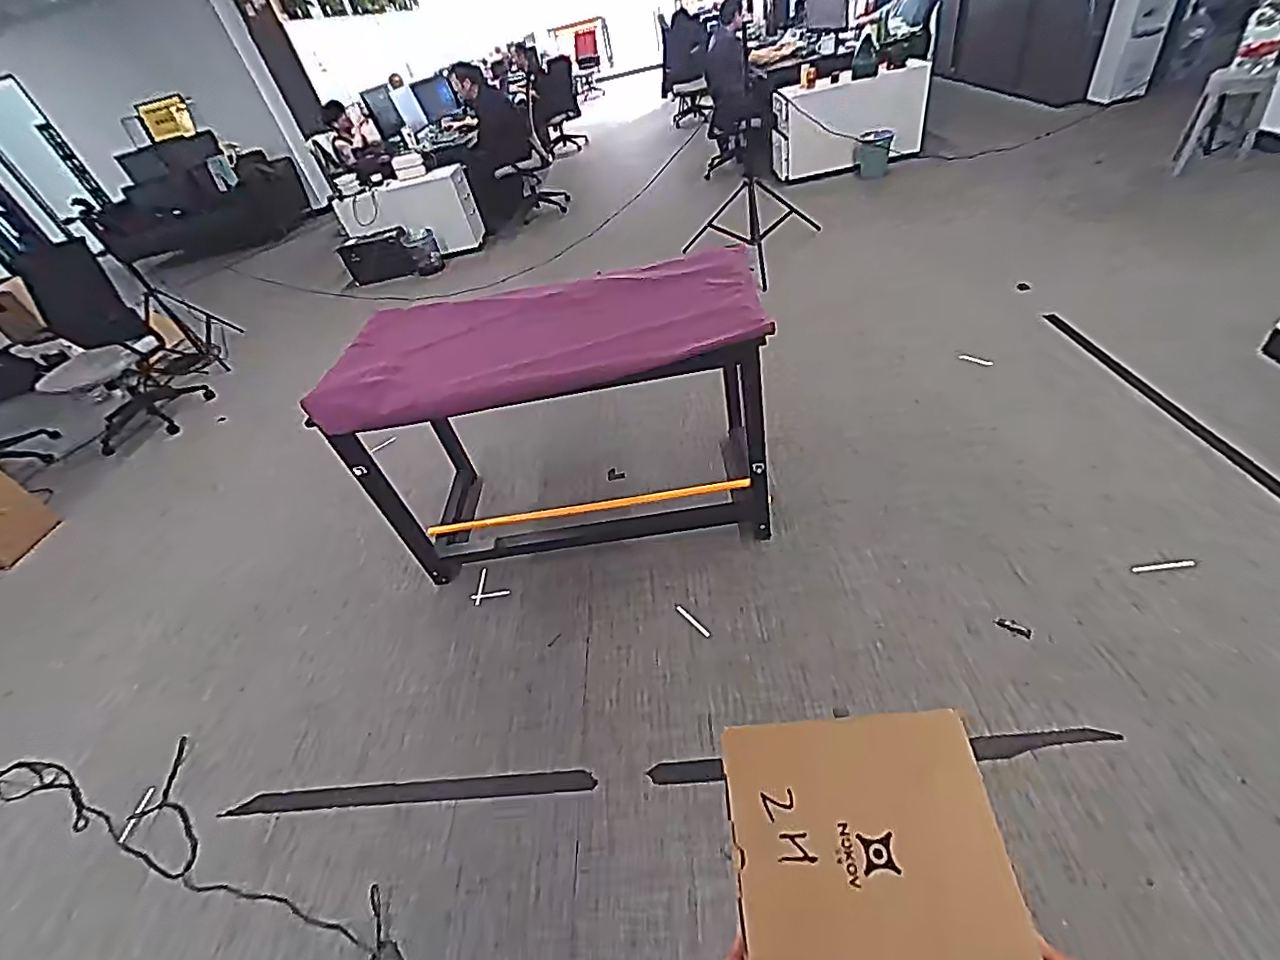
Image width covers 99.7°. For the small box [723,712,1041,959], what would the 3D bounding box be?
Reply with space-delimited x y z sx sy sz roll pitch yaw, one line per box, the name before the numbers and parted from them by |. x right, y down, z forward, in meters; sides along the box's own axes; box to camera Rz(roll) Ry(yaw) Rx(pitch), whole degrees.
small box | 0.167 0.288 0.429 0.179 0.176 0.168 -9 56 10
